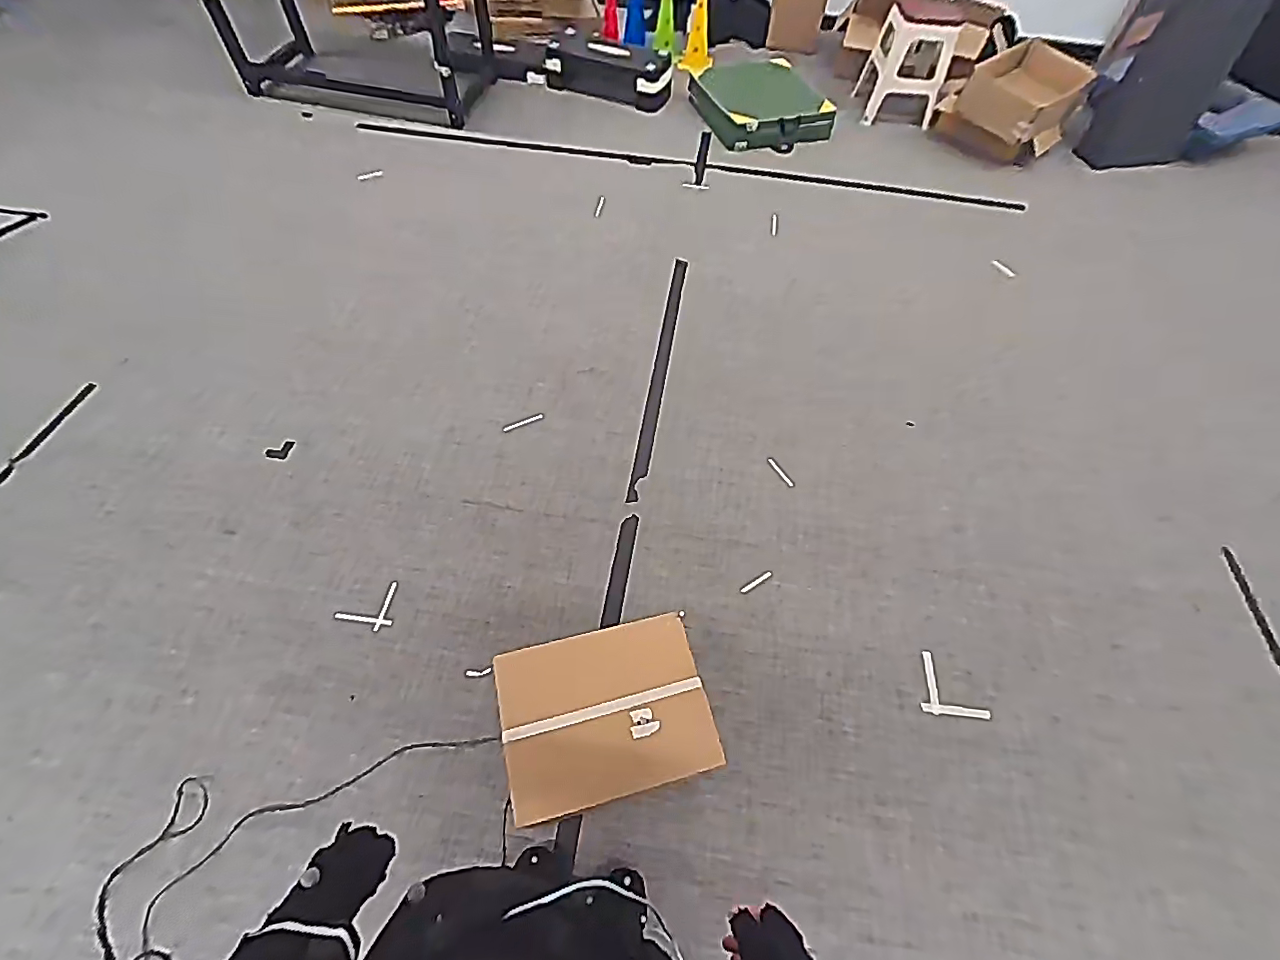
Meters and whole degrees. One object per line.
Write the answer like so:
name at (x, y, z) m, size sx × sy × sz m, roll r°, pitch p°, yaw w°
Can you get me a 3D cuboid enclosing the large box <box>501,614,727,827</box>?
large box at (-0.071, 0.538, 1.204) m, size 0.408 × 0.320 × 0.320 m, roll -10°, pitch 60°, yaw -12°
